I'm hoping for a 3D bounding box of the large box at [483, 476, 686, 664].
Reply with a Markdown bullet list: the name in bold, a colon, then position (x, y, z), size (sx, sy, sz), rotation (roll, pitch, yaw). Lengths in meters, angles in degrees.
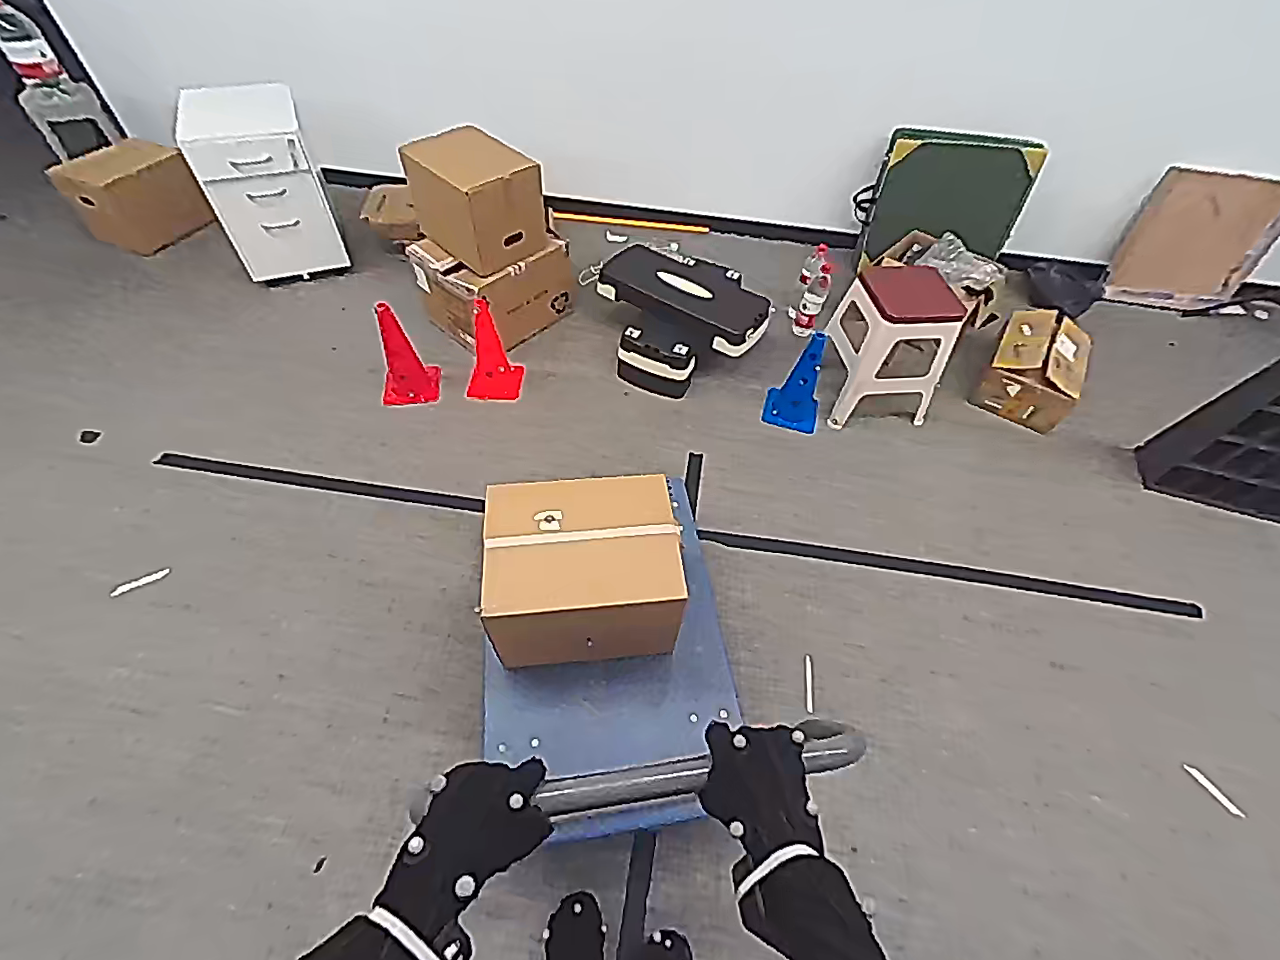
- **large box**: position (-0.127, 0.214, 1.259), size (0.408, 0.320, 0.320), rotation (-4, 53, -6)
